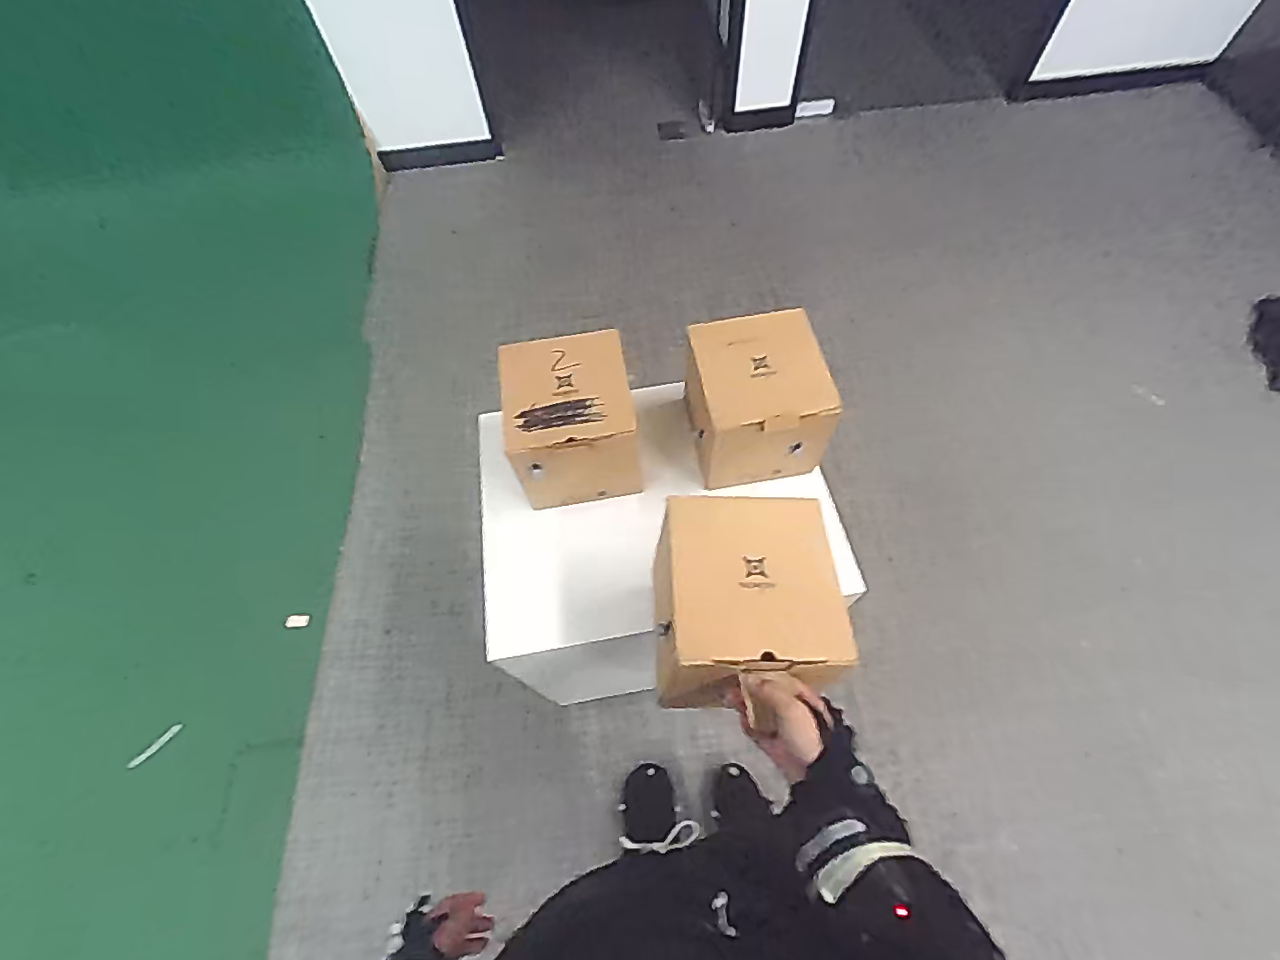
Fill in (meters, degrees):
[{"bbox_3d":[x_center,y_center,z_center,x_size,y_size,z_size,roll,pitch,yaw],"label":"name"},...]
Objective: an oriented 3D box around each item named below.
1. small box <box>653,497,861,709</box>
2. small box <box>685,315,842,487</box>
[{"bbox_3d":[0.107,0.137,0.585,0.168,0.176,0.179,1,55,-5],"label":"small box"},{"bbox_3d":[0.161,-0.102,0.772,0.168,0.176,0.179,-9,61,-3],"label":"small box"}]
